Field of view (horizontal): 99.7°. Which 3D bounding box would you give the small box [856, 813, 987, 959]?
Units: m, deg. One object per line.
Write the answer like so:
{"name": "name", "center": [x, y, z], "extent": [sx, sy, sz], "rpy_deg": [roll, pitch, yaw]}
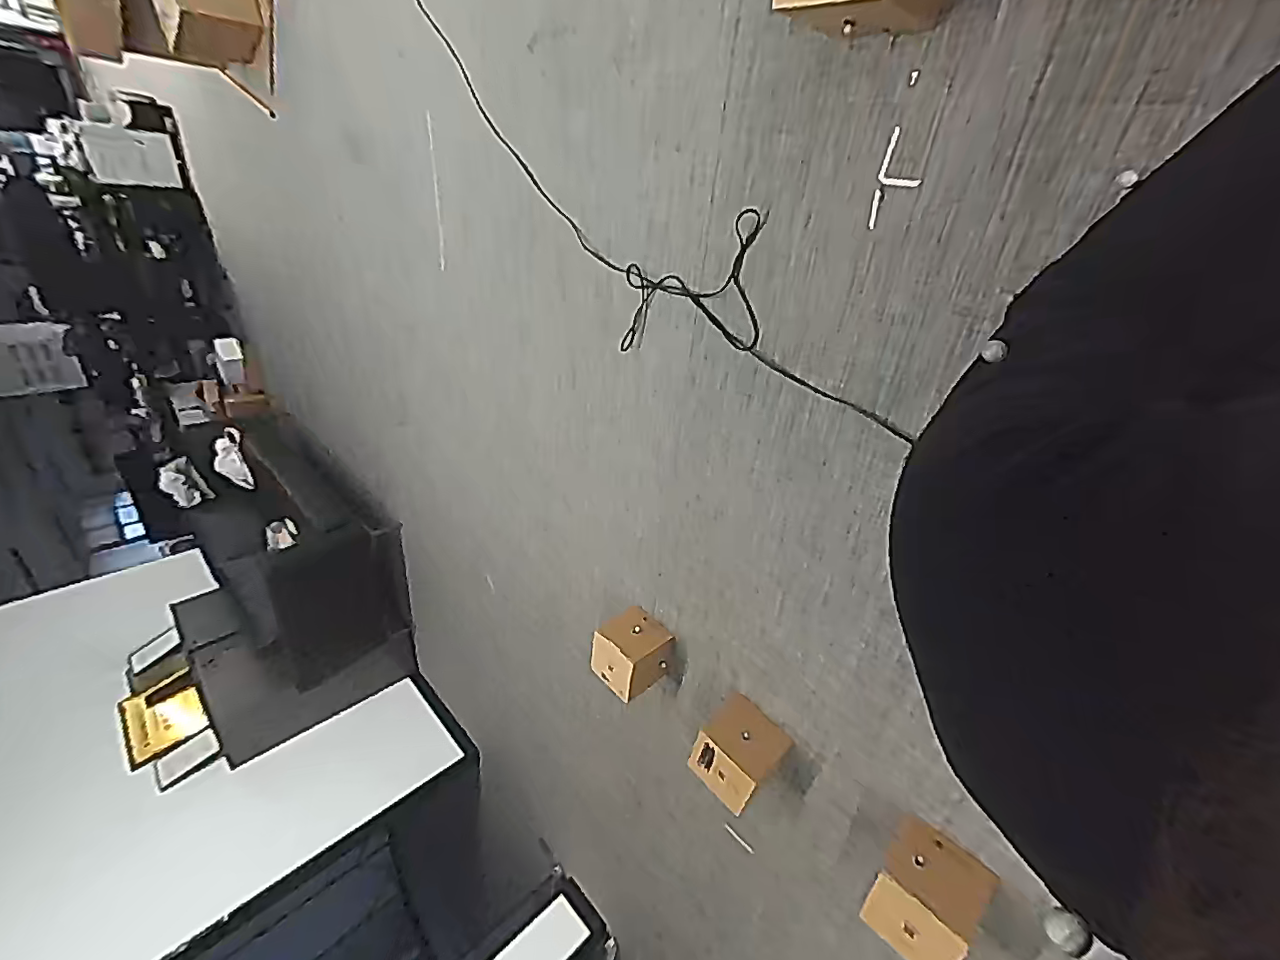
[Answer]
{"name": "small box", "center": [0.572, 0.831, 1.096], "extent": [0.168, 0.176, 0.179], "rpy_deg": [29, 127, 38]}

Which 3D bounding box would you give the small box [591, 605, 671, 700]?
{"name": "small box", "center": [-0.026, 0.508, 1.619], "extent": [0.168, 0.176, 0.179], "rpy_deg": [33, 128, 35]}
